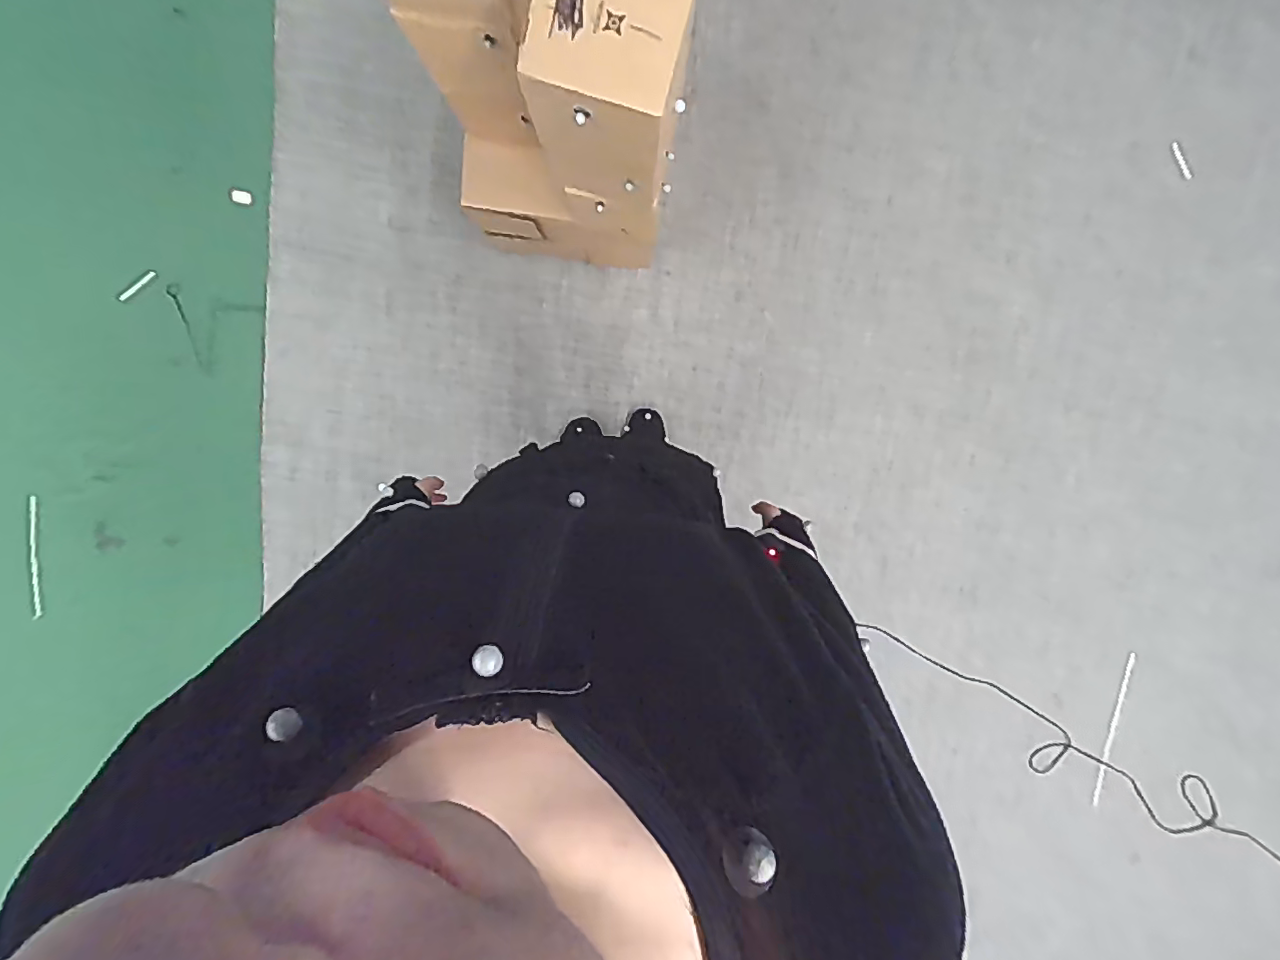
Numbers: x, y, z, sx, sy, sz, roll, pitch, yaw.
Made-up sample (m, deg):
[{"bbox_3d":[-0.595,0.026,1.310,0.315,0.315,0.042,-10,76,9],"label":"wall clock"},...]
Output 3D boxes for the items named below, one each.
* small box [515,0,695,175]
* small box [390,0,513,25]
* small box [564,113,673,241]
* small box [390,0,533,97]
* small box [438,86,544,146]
[{"bbox_3d":[-0.040,-0.525,0.693,0.179,0.176,0.168,16,98,-4],"label":"small box"},{"bbox_3d":[-0.252,-0.721,0.675,0.179,0.176,0.168,7,95,0],"label":"small box"},{"bbox_3d":[-0.040,-0.578,1.018,0.168,0.176,0.179,11,97,-1],"label":"small box"},{"bbox_3d":[-0.261,-0.735,0.840,0.179,0.176,0.168,6,95,-1],"label":"small box"},{"bbox_3d":[-0.253,-0.749,1.001,0.179,0.176,0.168,5,95,0],"label":"small box"}]
